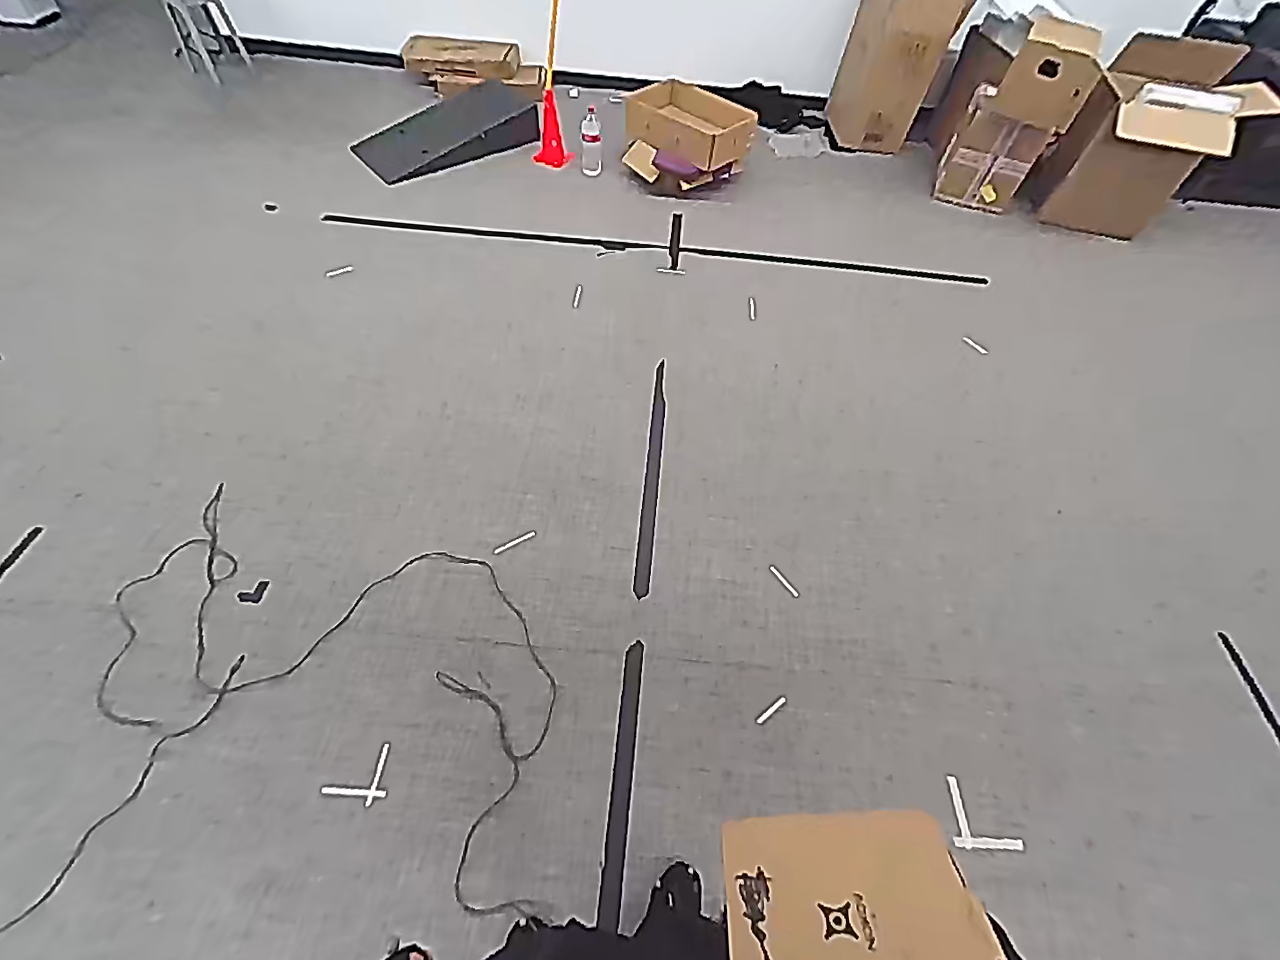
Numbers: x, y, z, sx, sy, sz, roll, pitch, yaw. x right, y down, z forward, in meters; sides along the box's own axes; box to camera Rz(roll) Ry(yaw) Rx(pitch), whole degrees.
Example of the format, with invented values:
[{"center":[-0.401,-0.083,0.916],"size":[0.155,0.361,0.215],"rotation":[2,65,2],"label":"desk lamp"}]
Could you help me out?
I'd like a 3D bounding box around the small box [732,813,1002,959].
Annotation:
[{"center":[0.170,0.394,0.419],"size":[0.179,0.176,0.168],"rotation":[-7,19,8],"label":"small box"}]
